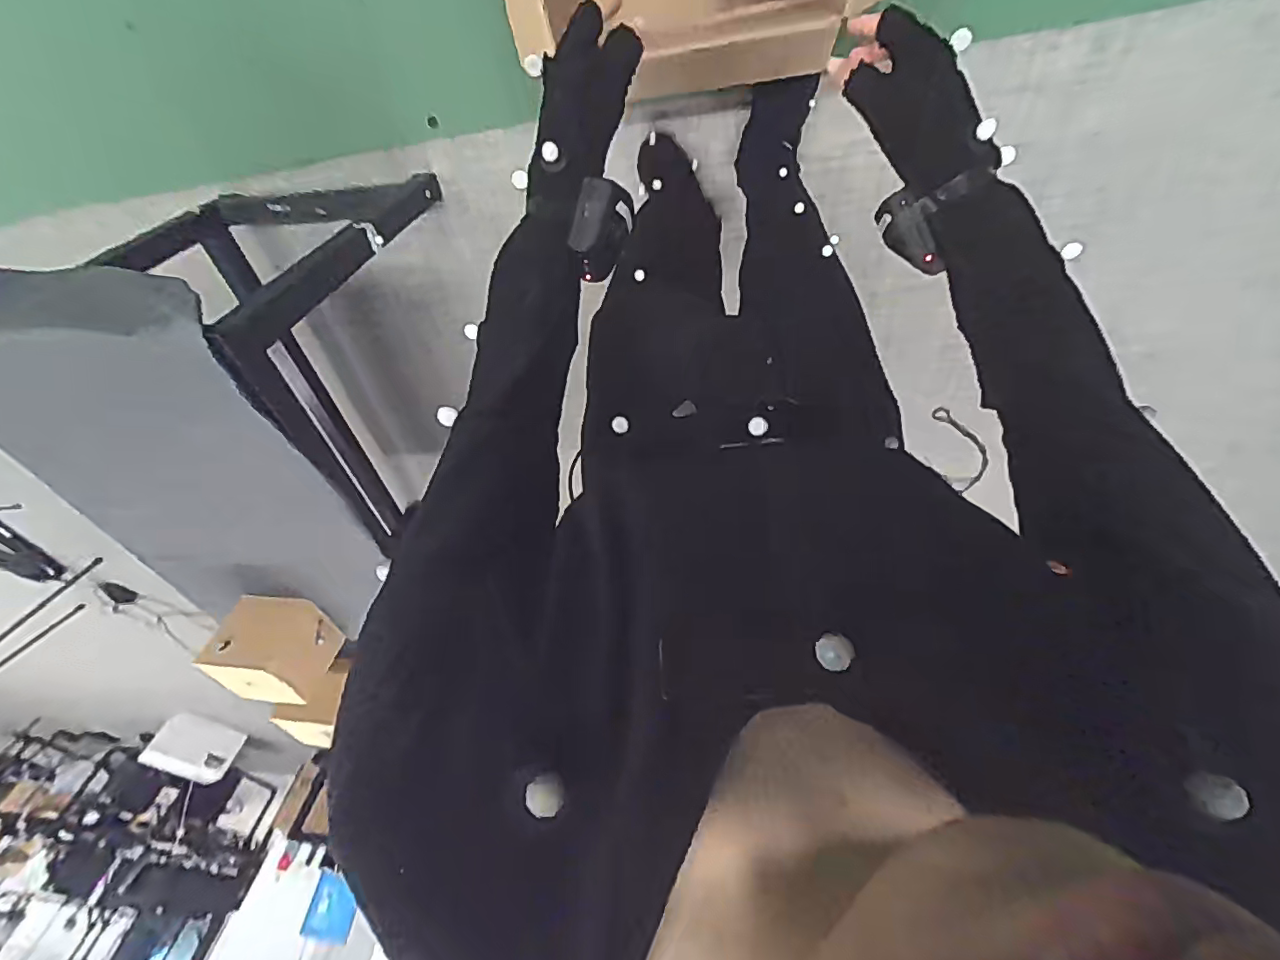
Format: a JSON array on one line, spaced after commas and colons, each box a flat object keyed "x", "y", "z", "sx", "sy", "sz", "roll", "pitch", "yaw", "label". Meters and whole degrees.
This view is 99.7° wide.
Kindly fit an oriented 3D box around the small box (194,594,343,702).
[{"x": -0.808, "y": 0.368, "z": 1.197, "sx": 0.179, "sy": 0.176, "sz": 0.168, "roll": 1, "pitch": 135, "yaw": 9, "label": "small box"}]
